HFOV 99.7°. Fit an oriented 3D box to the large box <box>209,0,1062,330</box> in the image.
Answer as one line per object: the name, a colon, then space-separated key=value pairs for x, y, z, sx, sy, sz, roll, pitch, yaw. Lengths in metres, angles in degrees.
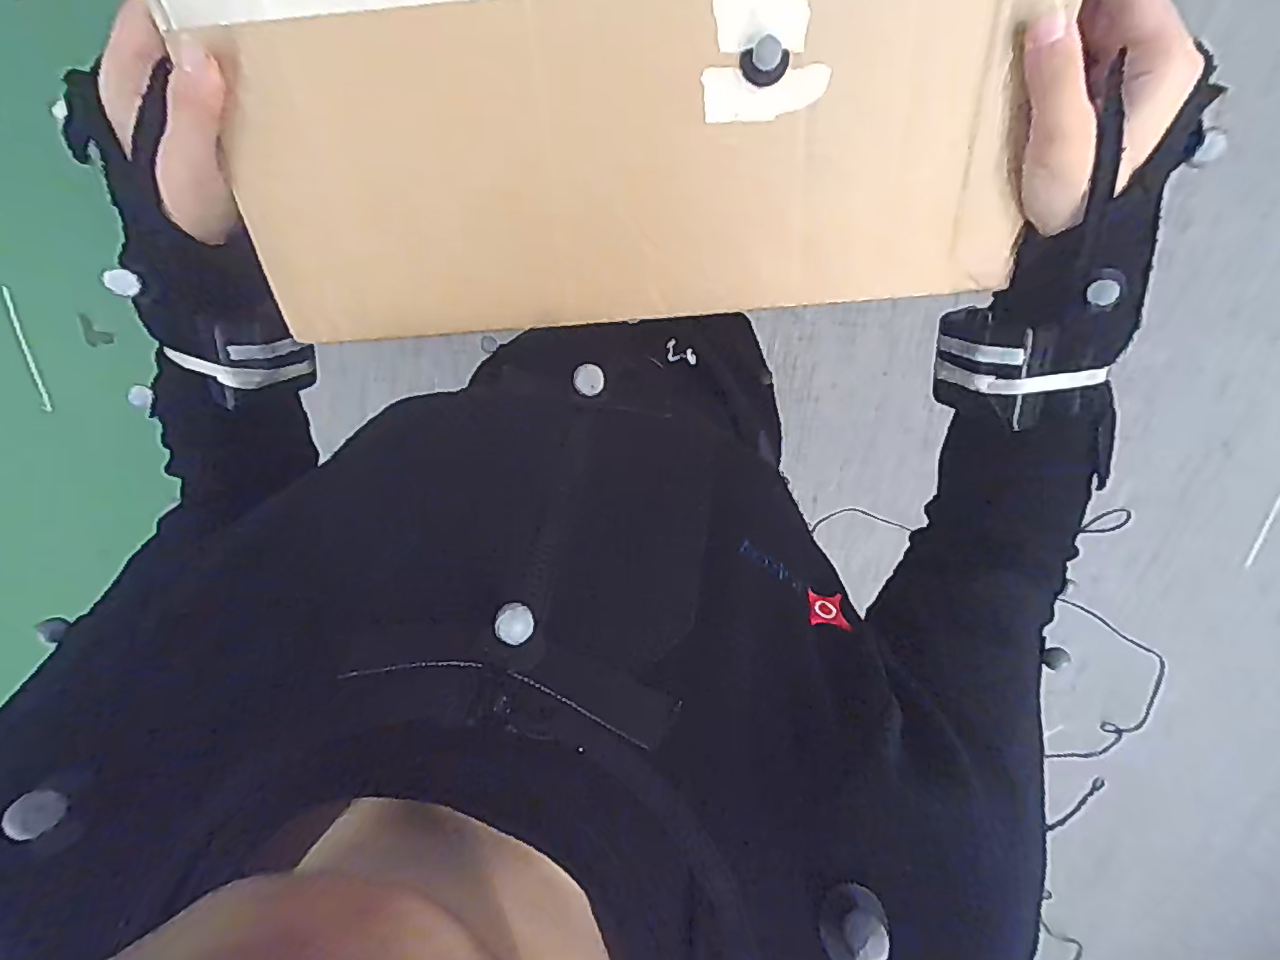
large box: x=-0.006 y=-0.310 z=0.373 sx=0.408 sy=0.320 sz=0.320 roll=-5 pitch=119 yaw=2
